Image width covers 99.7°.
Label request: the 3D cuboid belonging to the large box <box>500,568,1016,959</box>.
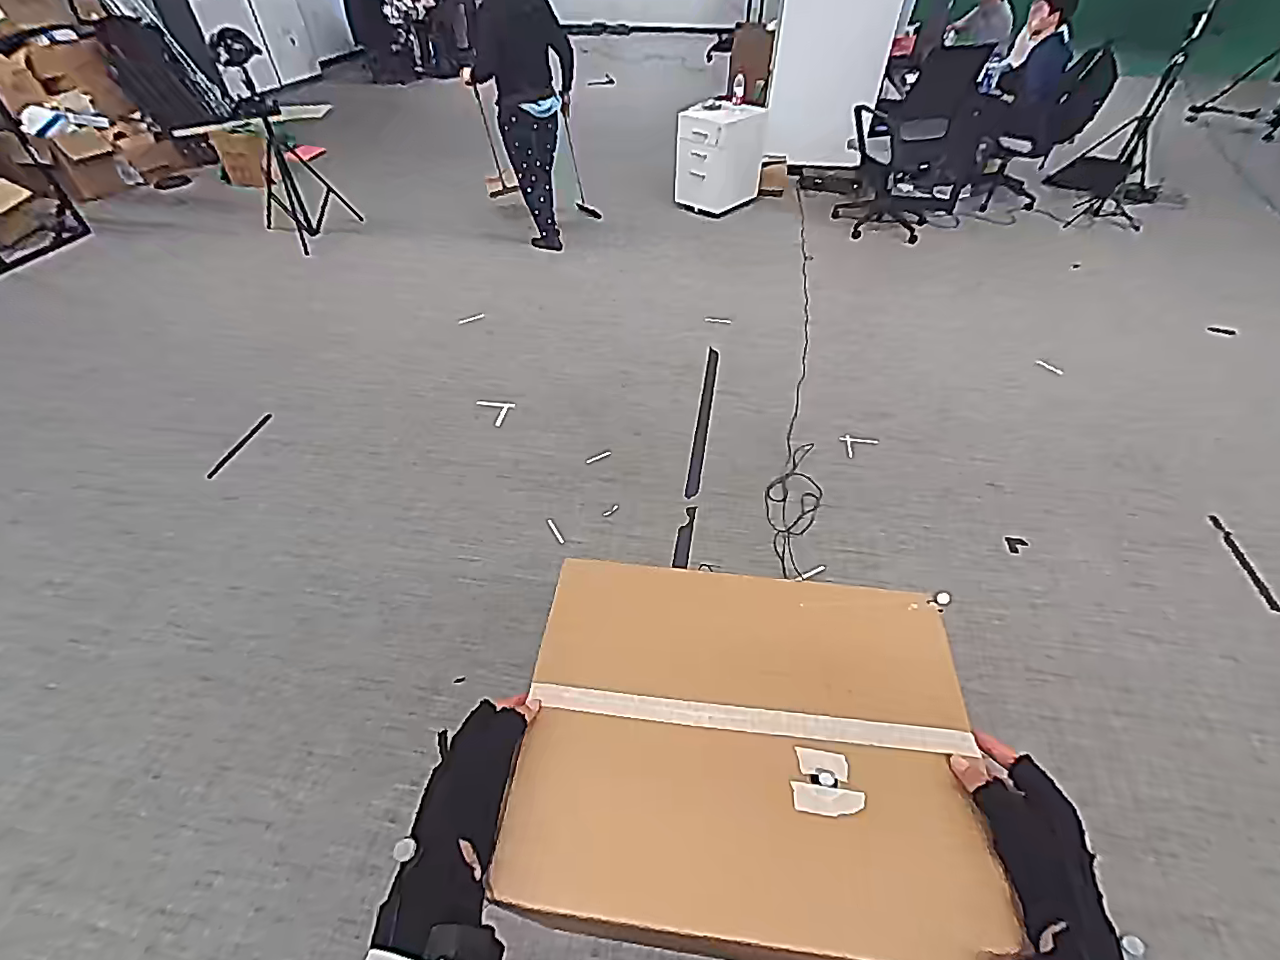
[{"bbox_3d":[0.100,0.328,0.621,0.408,0.320,0.320,5,49,5],"label":"large box"}]
